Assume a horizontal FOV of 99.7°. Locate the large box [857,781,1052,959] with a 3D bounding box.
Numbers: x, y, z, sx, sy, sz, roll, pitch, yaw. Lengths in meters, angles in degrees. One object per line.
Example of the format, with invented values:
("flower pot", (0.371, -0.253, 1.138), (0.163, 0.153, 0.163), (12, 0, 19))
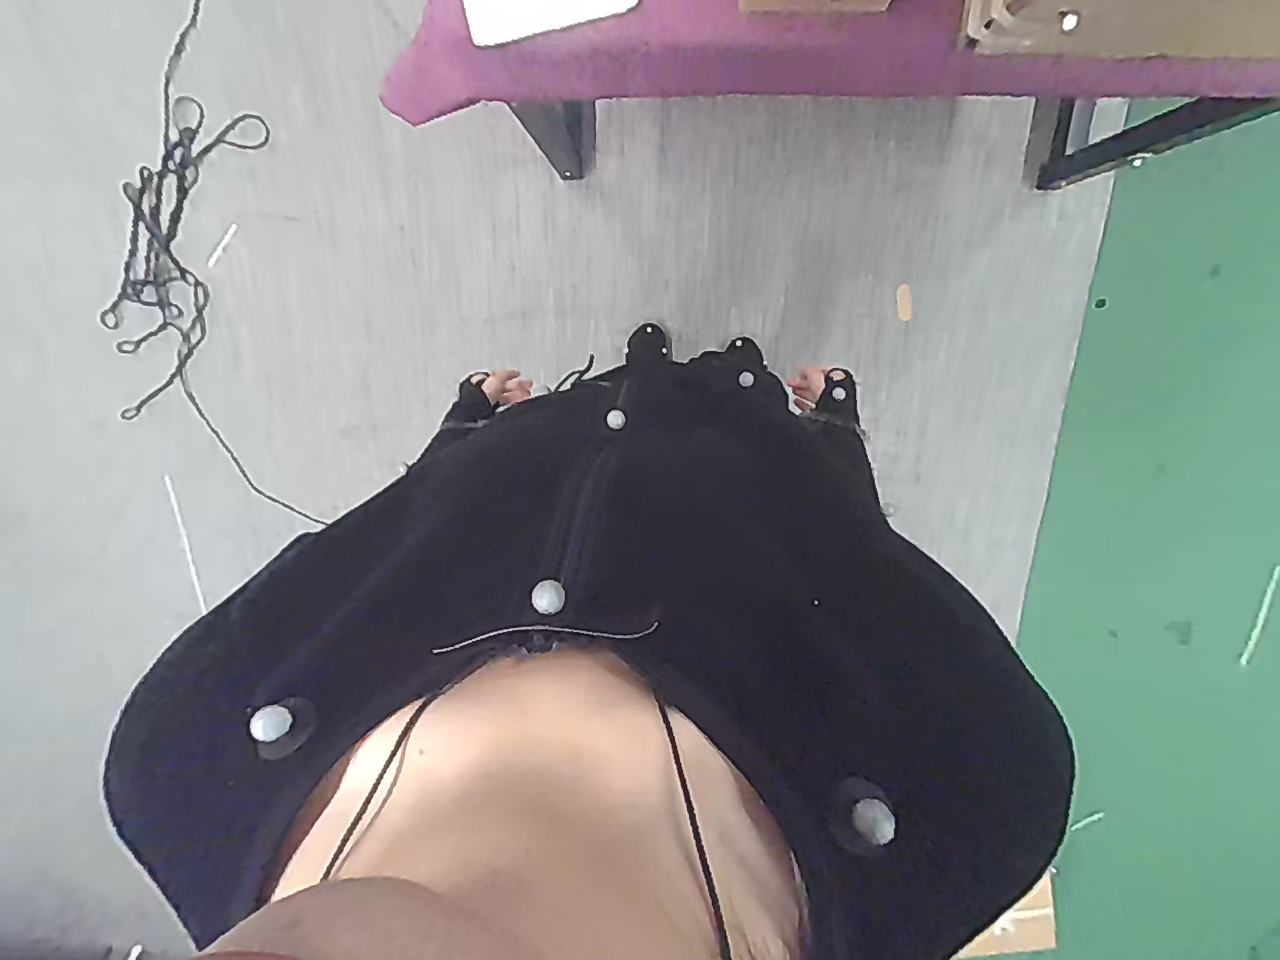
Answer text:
("large box", (0.931, 1.184, 1.641), (0.408, 0.320, 0.320), (-13, 105, 5))
